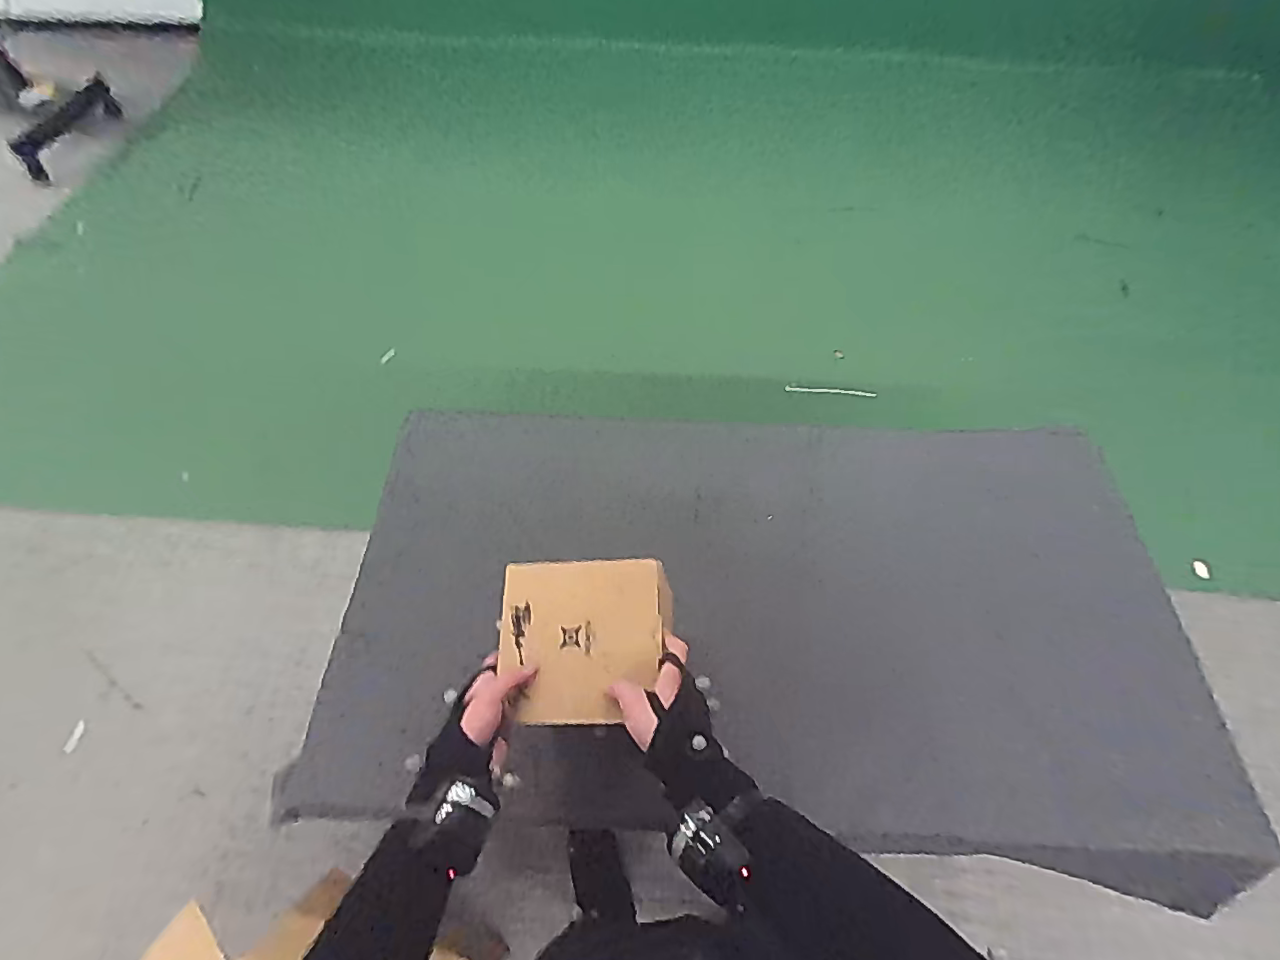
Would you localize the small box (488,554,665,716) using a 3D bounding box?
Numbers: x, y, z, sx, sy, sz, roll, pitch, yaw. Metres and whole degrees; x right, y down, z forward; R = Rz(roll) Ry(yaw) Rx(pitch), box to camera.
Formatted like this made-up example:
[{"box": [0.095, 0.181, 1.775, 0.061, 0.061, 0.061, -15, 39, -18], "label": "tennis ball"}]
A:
[{"box": [-0.060, 0.187, 0.640, 0.179, 0.176, 0.168, -2, 67, 5], "label": "small box"}]
